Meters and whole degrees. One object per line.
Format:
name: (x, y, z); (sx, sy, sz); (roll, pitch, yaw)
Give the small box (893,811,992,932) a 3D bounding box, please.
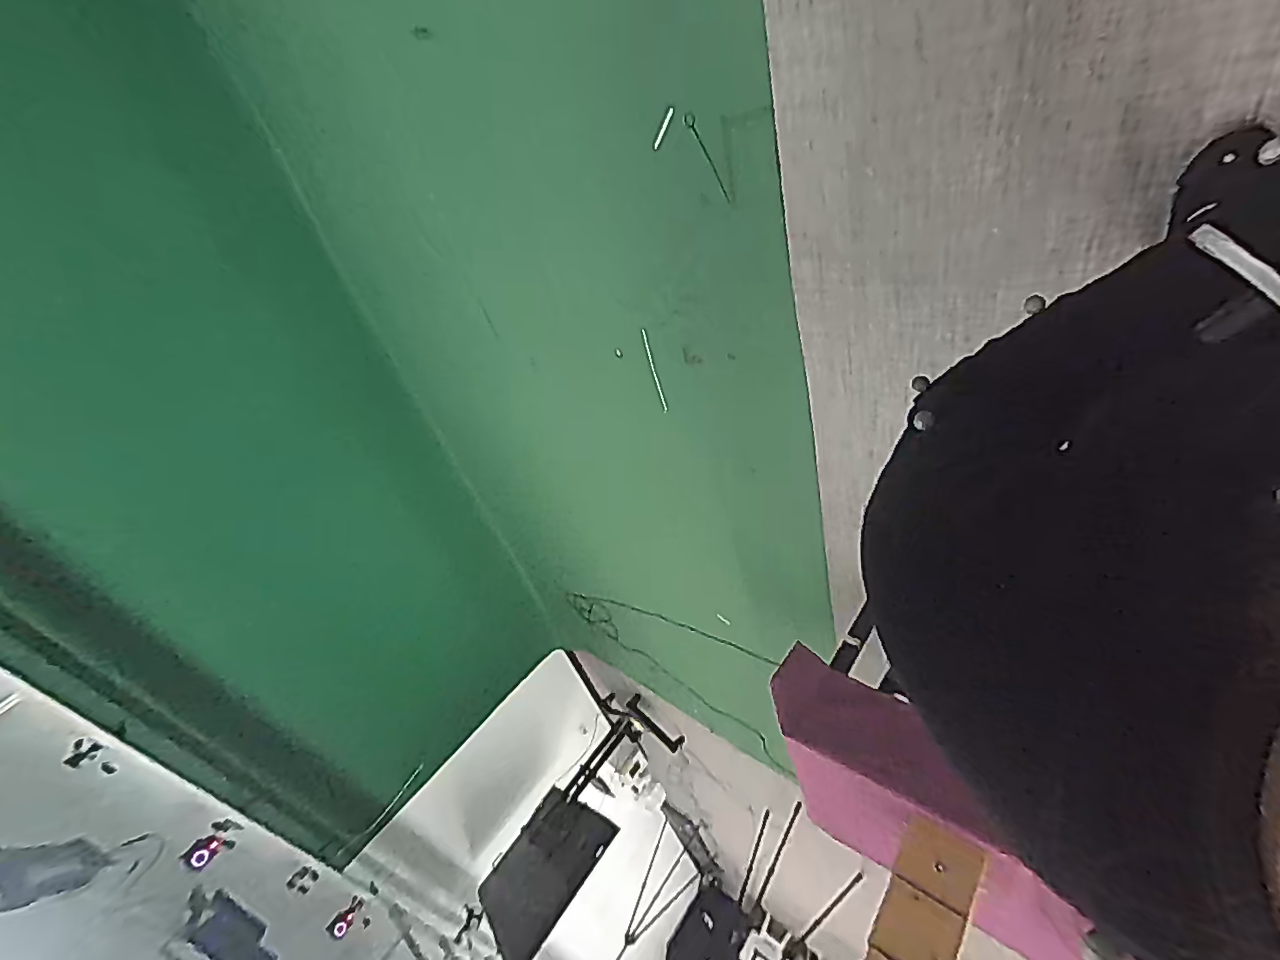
small box: (0.766, 0.981, 1.374); (0.179, 0.176, 0.168); (15, 138, 40)
